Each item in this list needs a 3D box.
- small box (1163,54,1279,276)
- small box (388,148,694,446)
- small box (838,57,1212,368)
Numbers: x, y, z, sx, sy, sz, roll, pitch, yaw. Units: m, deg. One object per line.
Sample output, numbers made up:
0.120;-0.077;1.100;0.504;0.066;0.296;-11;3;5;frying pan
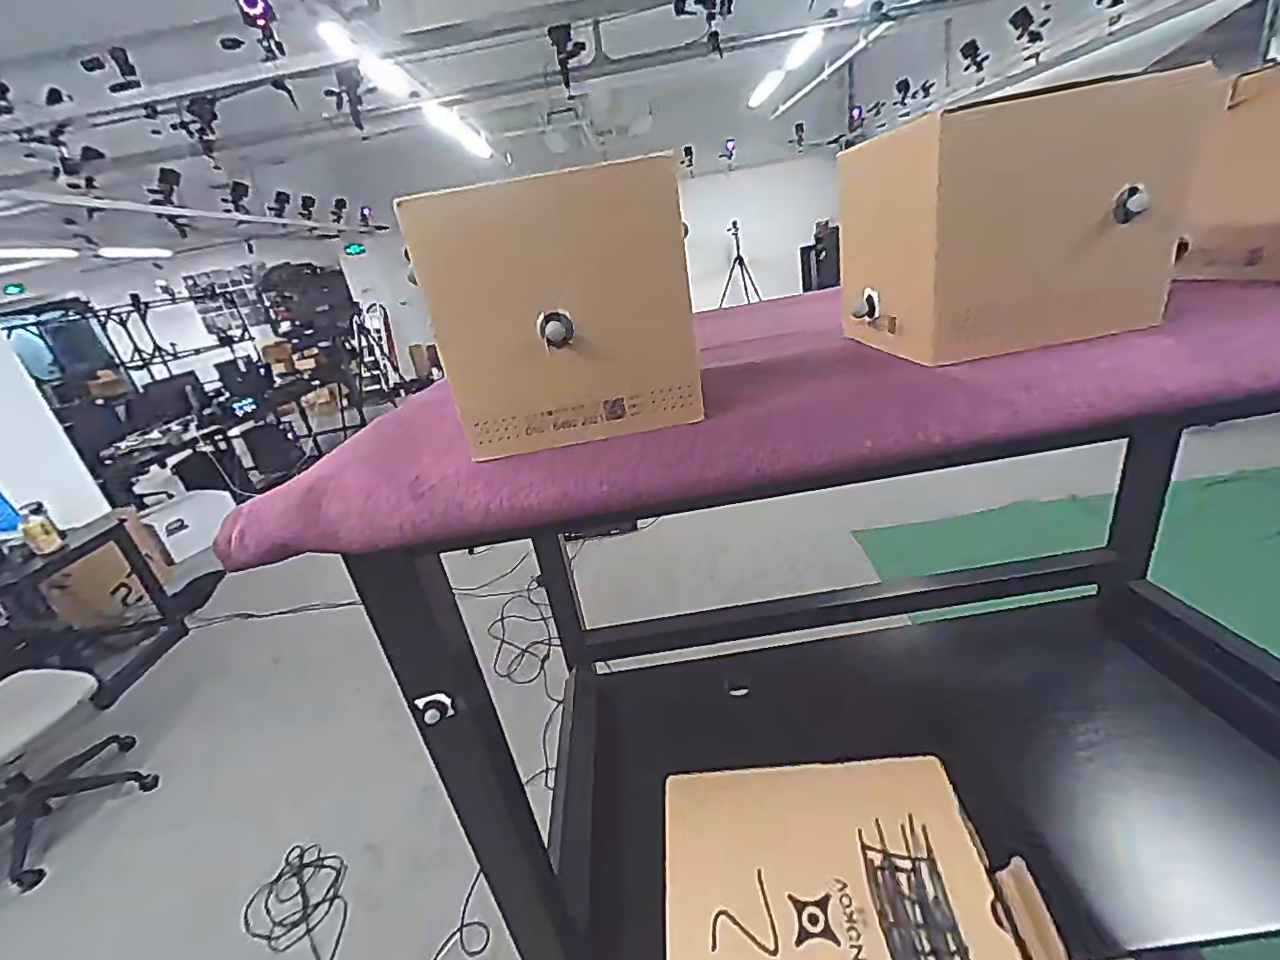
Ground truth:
0.592;-0.271;0.451;0.179;0.176;0.168;-9;22;3;small box
-0.058;-0.133;0.415;0.168;0.176;0.179;-10;24;-1;small box
0.277;-0.201;0.437;0.179;0.176;0.168;-12;23;1;small box
